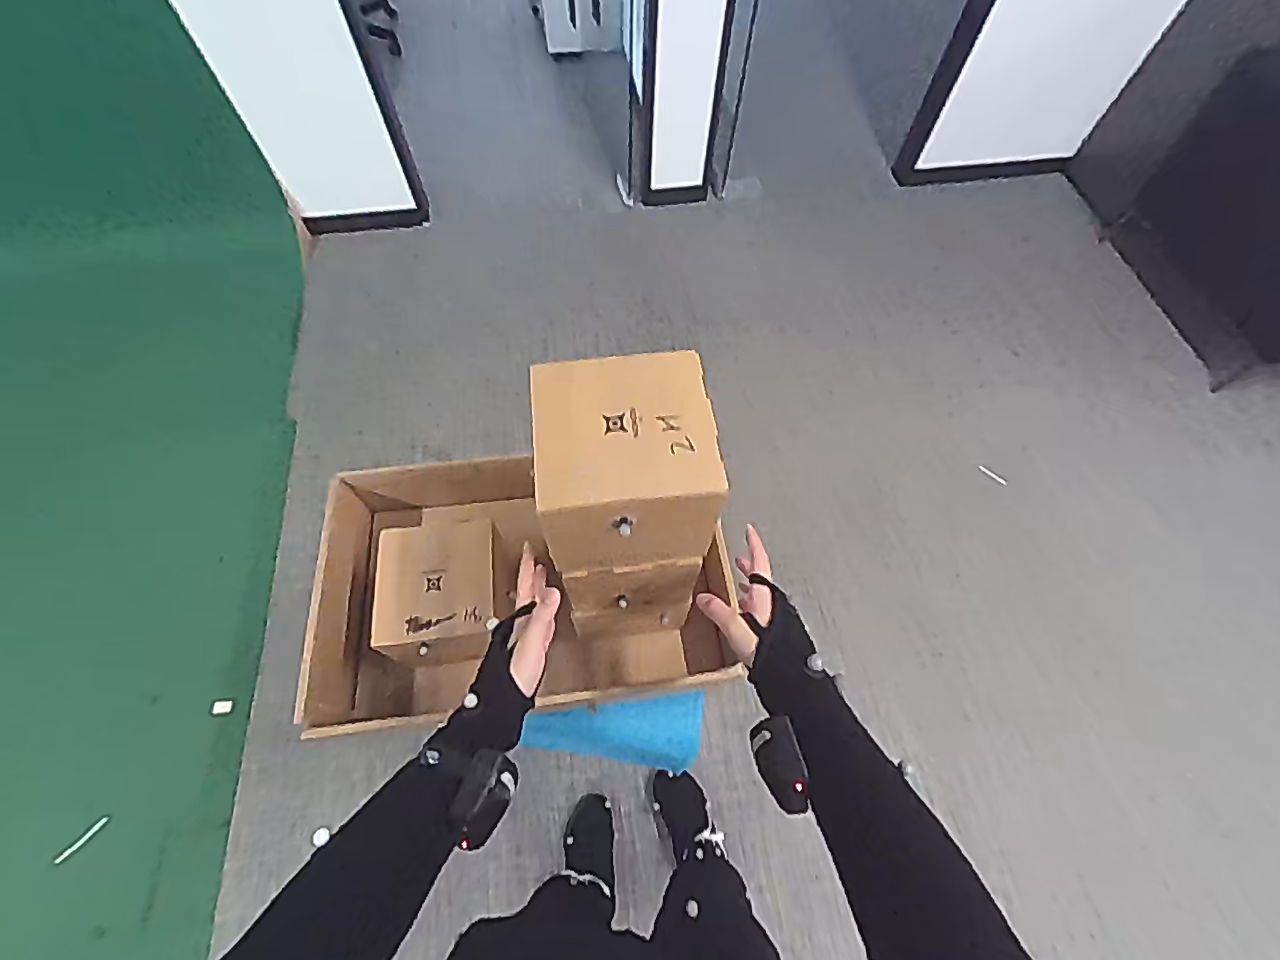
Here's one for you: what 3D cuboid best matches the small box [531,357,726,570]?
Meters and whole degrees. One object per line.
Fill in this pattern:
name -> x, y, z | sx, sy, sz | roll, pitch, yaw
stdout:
small box -> -0.017, -0.011, 0.586 | 0.179, 0.176, 0.168 | -5, 62, -4

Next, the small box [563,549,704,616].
small box -> -0.018, 0.070, 0.731 | 0.168, 0.176, 0.179 | -5, 62, -4
